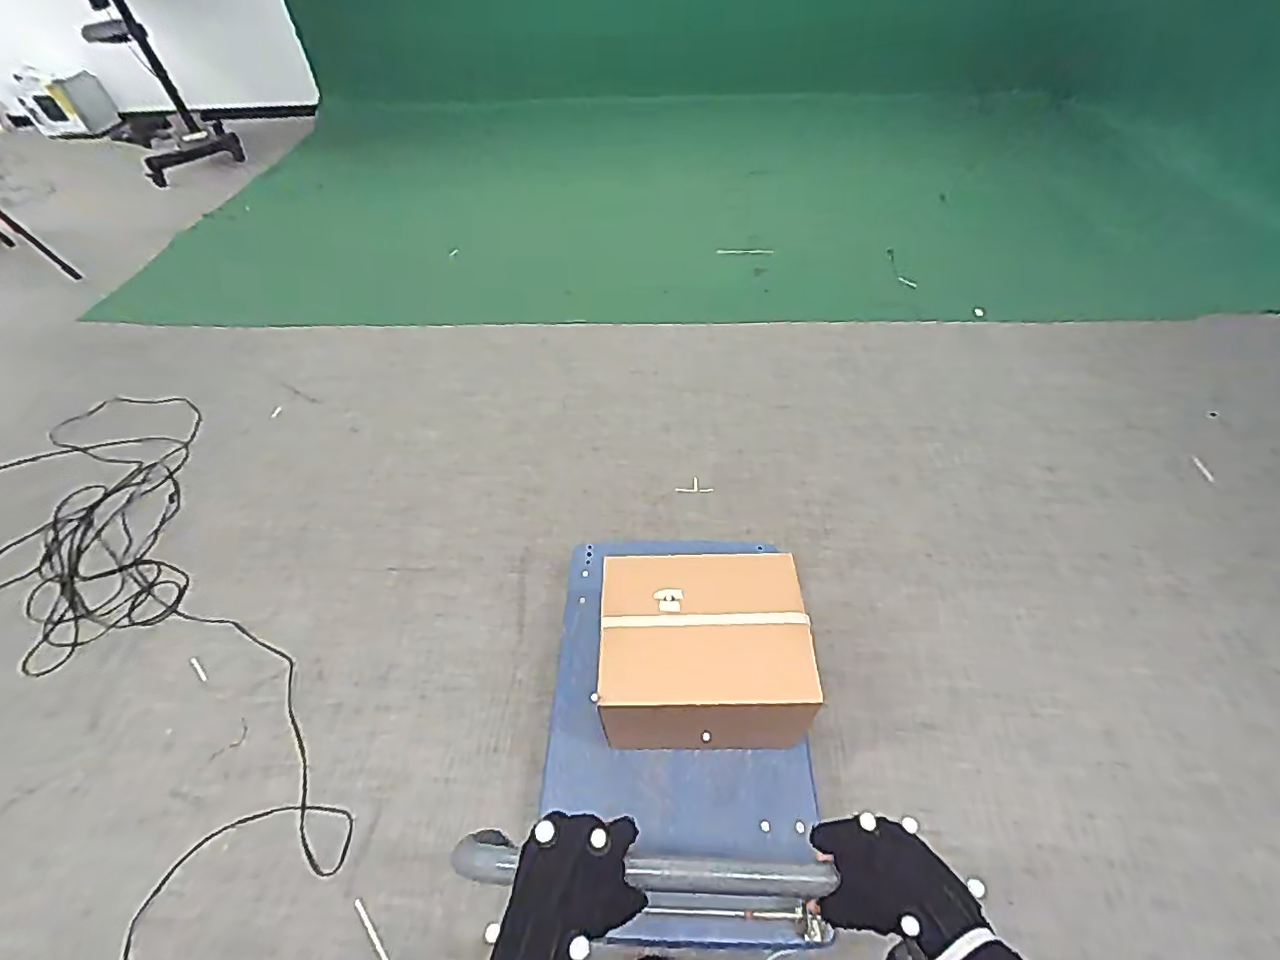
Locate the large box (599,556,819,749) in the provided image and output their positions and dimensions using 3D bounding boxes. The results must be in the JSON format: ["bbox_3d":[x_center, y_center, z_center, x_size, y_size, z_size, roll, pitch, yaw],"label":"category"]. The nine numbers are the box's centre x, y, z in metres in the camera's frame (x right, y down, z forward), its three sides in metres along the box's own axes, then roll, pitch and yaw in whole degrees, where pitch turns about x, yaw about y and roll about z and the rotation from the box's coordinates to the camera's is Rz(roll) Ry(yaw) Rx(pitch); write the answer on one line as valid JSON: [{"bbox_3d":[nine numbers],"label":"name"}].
[{"bbox_3d":[0.133,0.384,1.183,0.408,0.320,0.320,-2,49,3],"label":"large box"}]
